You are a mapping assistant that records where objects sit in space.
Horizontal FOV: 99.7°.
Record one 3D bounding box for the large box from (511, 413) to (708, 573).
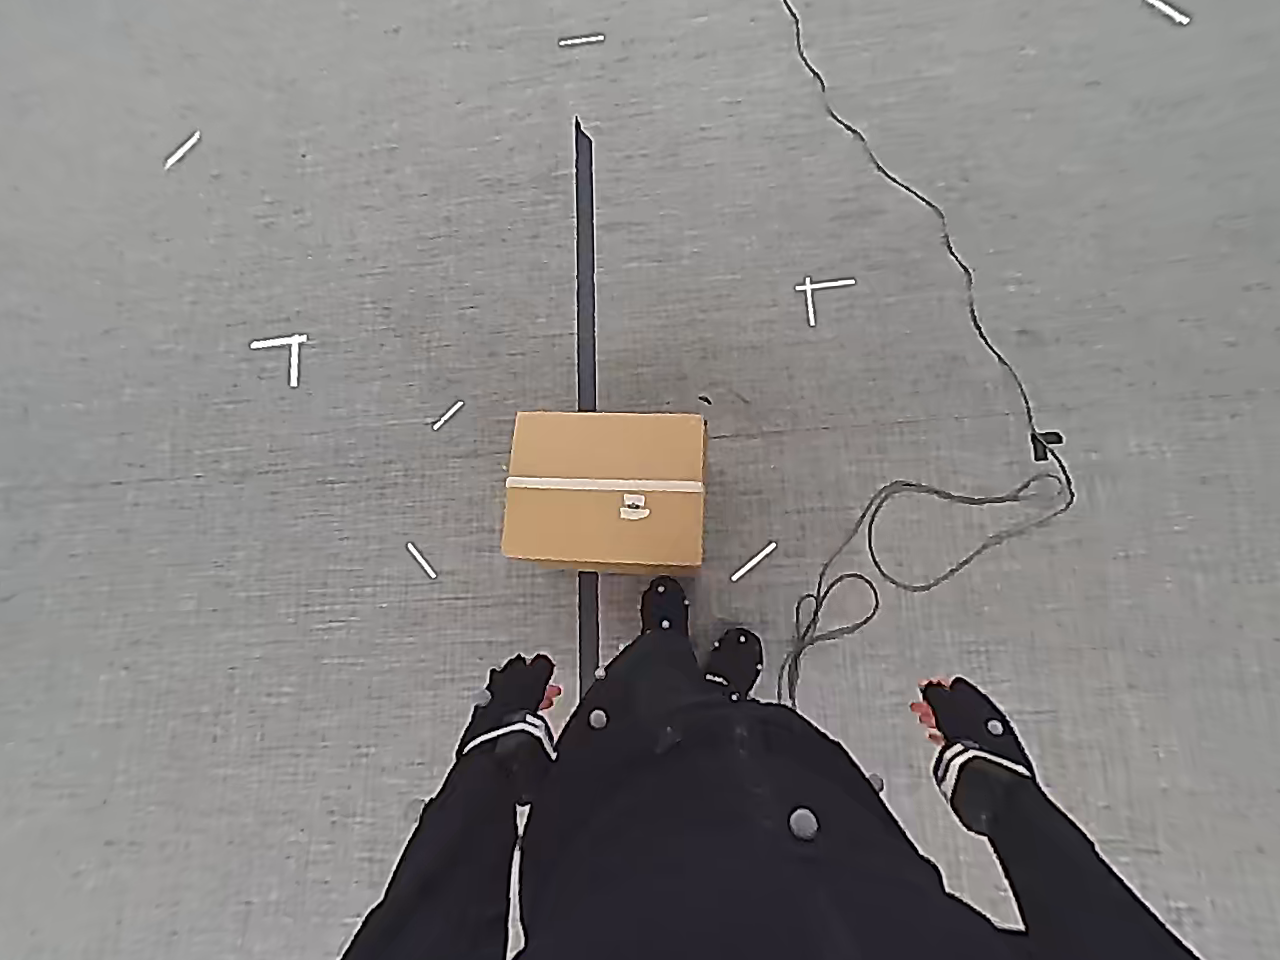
[{"bbox_3d":[-0.052,0.047,1.253,0.408,0.320,0.320,0,77,6],"label":"large box"}]
